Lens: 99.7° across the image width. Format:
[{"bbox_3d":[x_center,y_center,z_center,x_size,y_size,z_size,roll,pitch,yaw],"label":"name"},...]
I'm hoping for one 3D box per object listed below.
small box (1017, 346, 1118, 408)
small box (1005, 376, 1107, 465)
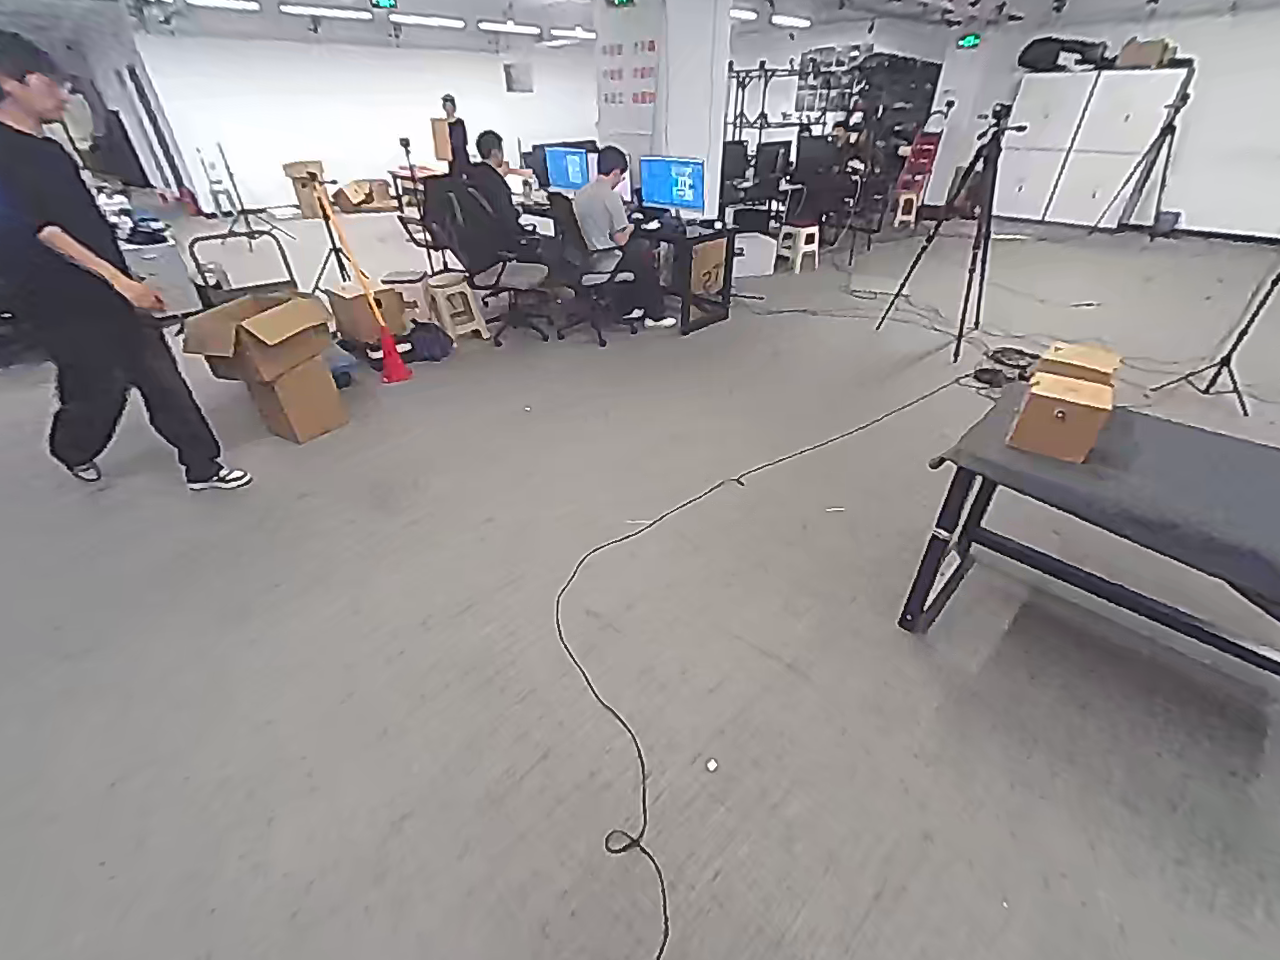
[{"bbox_3d":[1.299,-0.285,1.648,0.179,0.176,0.168,30,45,35],"label":"small box"},{"bbox_3d":[1.126,-0.161,1.470,0.179,0.176,0.168,23,41,28],"label":"small box"}]
